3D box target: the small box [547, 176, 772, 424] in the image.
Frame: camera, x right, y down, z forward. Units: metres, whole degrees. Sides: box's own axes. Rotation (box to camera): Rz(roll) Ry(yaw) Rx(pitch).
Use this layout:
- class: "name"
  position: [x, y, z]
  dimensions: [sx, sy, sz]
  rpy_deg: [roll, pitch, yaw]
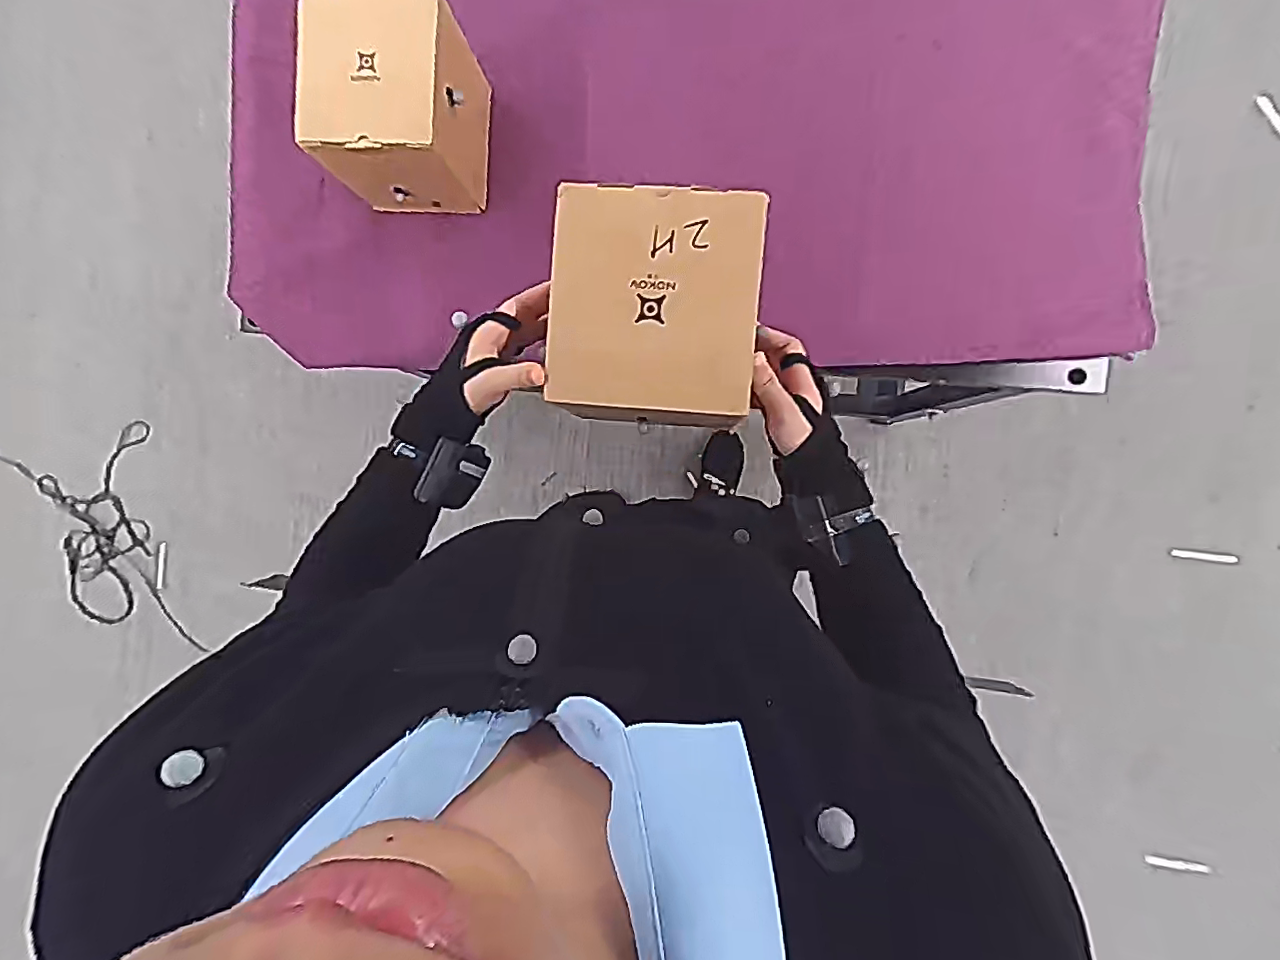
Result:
- class: "small box"
  position: [0.019, -0.147, 0.499]
  dimensions: [0.168, 0.176, 0.179]
  rpy_deg: [5, 92, 3]

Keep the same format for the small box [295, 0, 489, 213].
- class: "small box"
  position: [-0.301, -0.469, 0.687]
  dimensions: [0.168, 0.176, 0.179]
  rpy_deg: [4, 93, 4]
